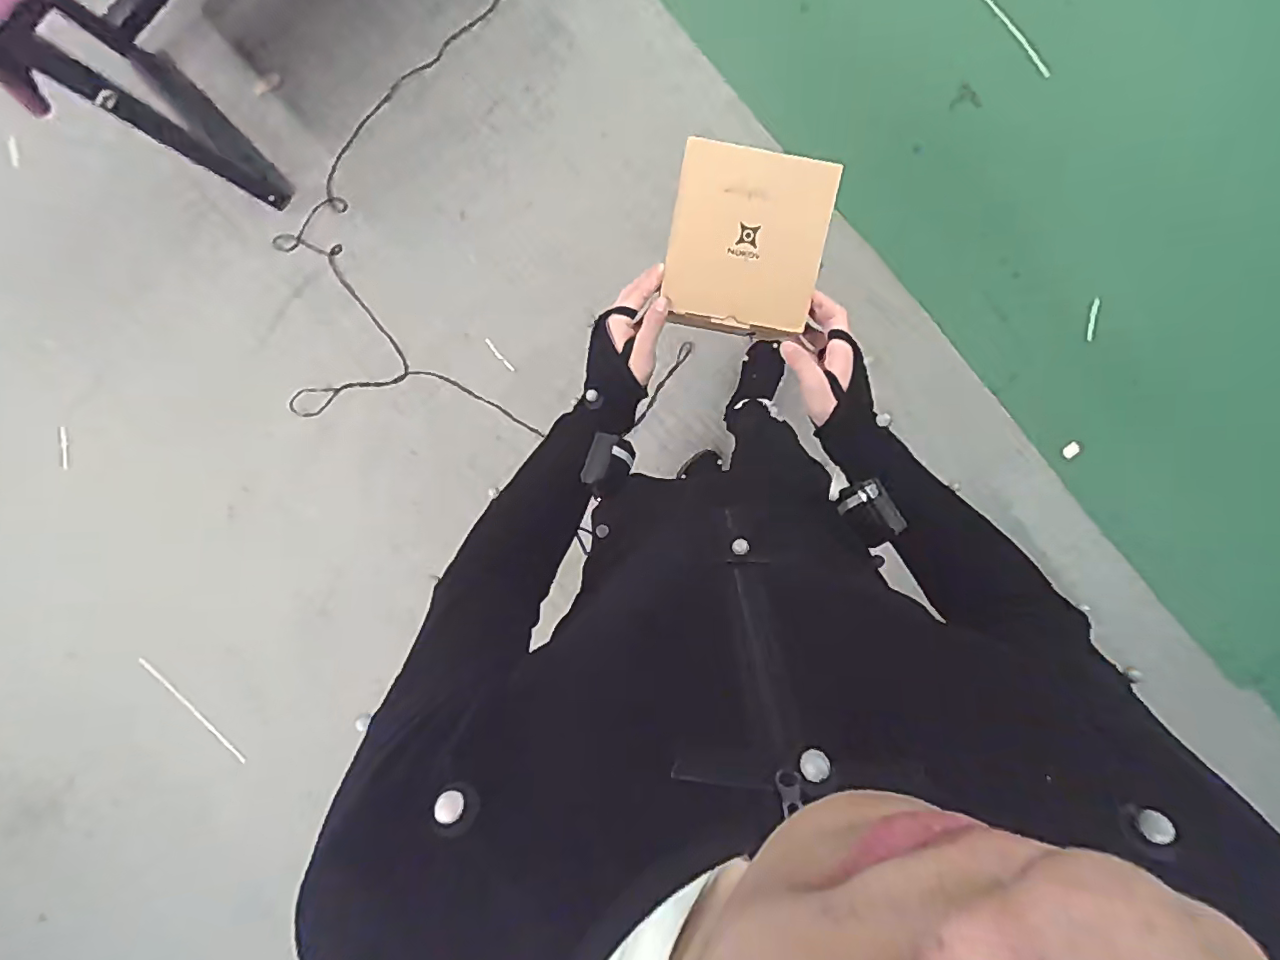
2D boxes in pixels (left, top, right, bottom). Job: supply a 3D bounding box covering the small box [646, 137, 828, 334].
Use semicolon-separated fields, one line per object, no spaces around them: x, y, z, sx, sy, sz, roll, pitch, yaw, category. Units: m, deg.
0.105;-0.279;0.660;0.168;0.176;0.179;10;103;-1;small box
